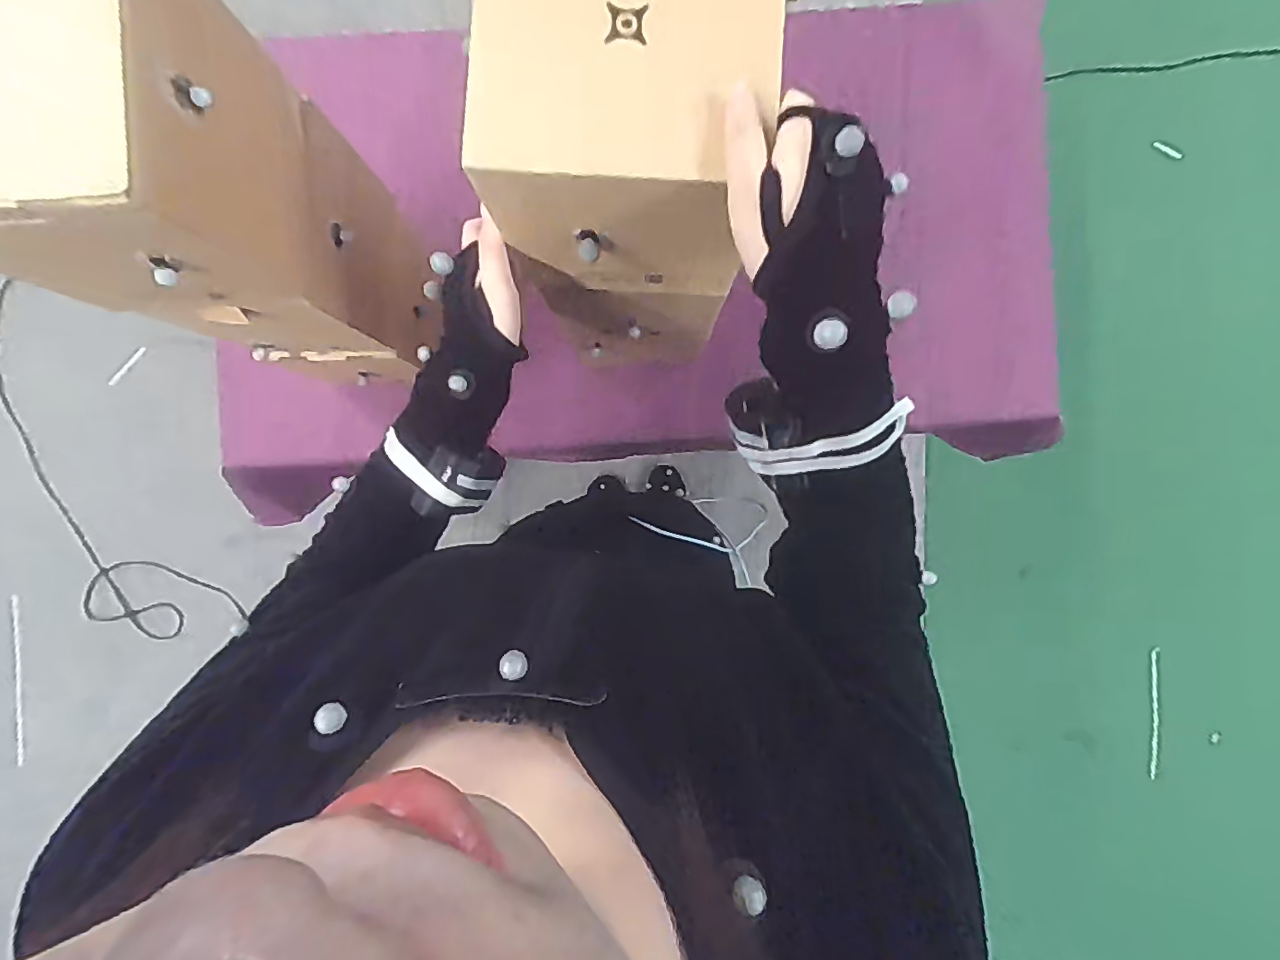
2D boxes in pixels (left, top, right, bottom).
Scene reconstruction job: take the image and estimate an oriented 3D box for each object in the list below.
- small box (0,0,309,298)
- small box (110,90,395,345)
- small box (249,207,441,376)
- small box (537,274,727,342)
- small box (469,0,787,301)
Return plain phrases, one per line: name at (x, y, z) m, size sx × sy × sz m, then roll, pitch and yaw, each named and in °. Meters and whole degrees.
small box at (-0.348, -0.229, 0.360) m, size 0.168 × 0.176 × 0.179 m, roll -2°, pitch 90°, yaw -2°
small box at (-0.353, -0.235, 0.522) m, size 0.168 × 0.176 × 0.179 m, roll 1°, pitch 90°, yaw -2°
small box at (-0.360, -0.229, 0.687) m, size 0.168 × 0.176 × 0.179 m, roll 0°, pitch 92°, yaw -3°
small box at (-0.006, -0.248, 0.531) m, size 0.168 × 0.176 × 0.179 m, roll 2°, pitch 90°, yaw -1°
small box at (-0.004, -0.236, 0.368) m, size 0.168 × 0.176 × 0.179 m, roll 4°, pitch 89°, yaw -1°
